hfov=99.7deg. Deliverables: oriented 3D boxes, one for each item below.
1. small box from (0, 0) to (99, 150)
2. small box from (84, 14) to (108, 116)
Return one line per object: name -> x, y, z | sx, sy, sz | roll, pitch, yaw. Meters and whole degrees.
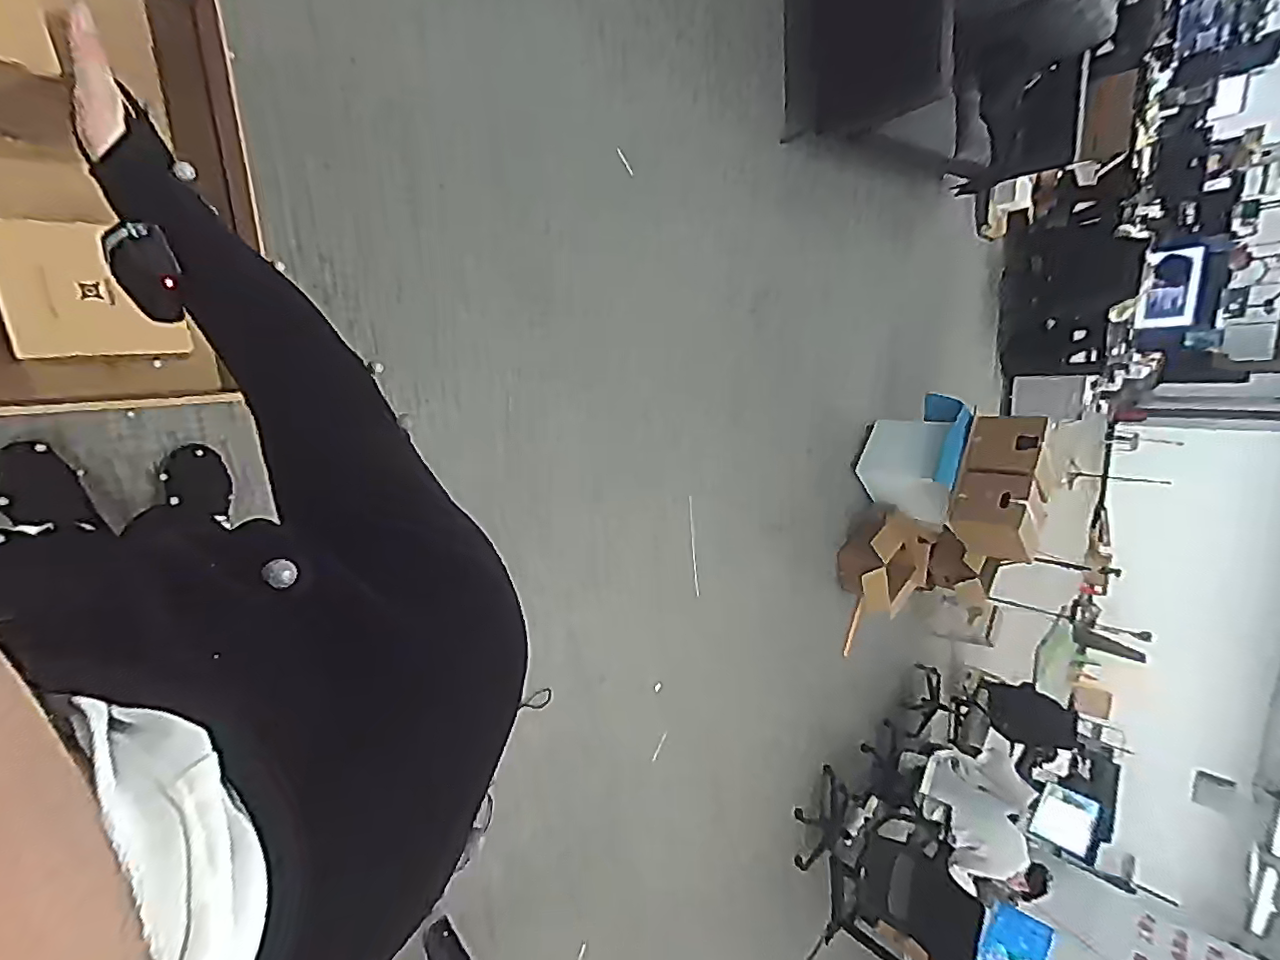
small box -> -0.558, -0.401, 0.425 | 0.168, 0.176, 0.179 | -7, 101, -39
small box -> -0.682, -0.500, 0.551 | 0.168, 0.176, 0.179 | -20, 112, -38
